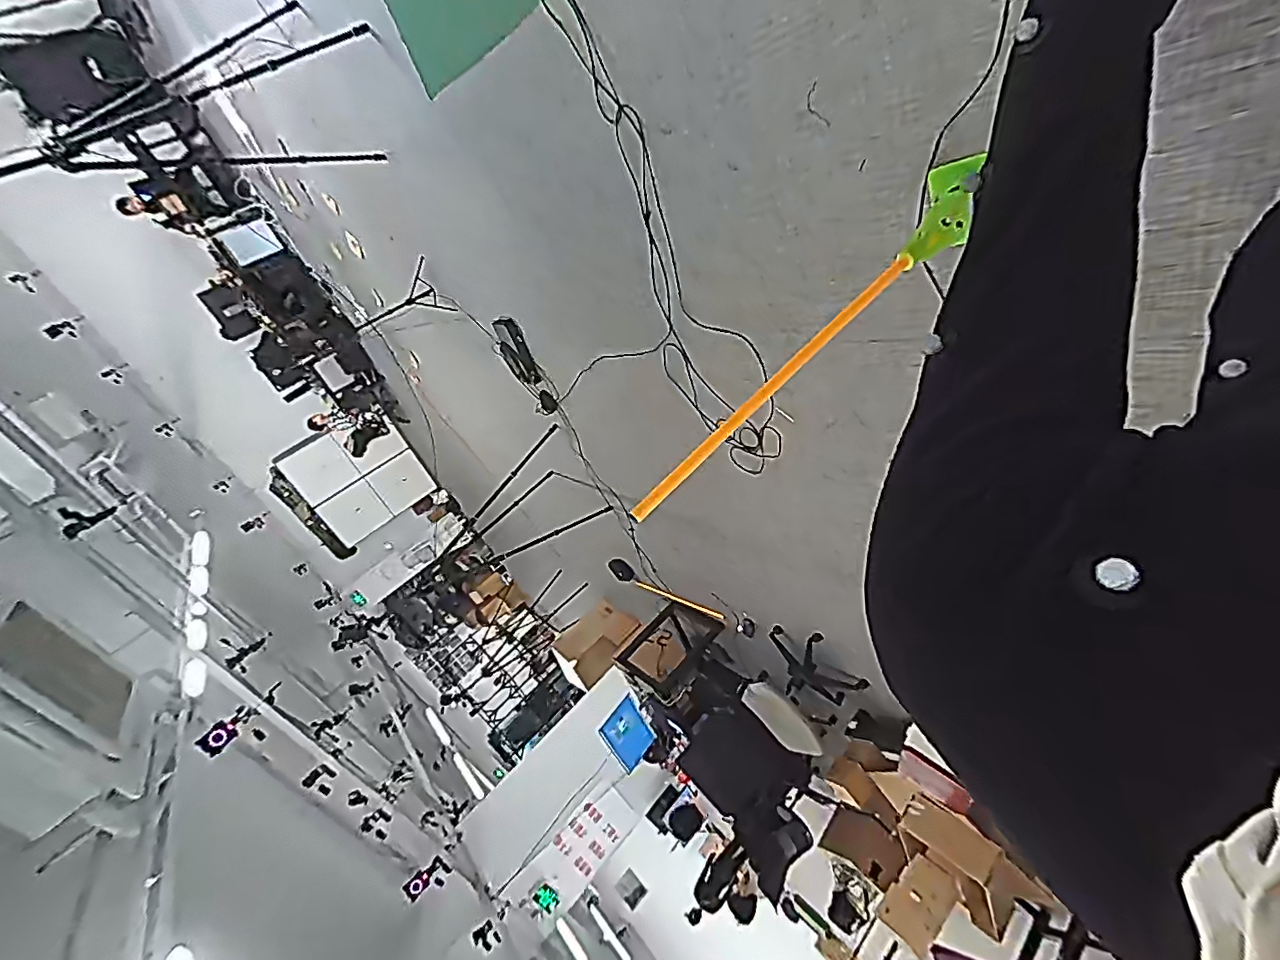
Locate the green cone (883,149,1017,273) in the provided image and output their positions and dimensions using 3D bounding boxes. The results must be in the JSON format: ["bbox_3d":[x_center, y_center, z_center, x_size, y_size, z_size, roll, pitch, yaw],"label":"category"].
[{"bbox_3d":[0.686,-0.584,1.261,0.202,0.368,0.200,14,138,54],"label":"green cone"}]
